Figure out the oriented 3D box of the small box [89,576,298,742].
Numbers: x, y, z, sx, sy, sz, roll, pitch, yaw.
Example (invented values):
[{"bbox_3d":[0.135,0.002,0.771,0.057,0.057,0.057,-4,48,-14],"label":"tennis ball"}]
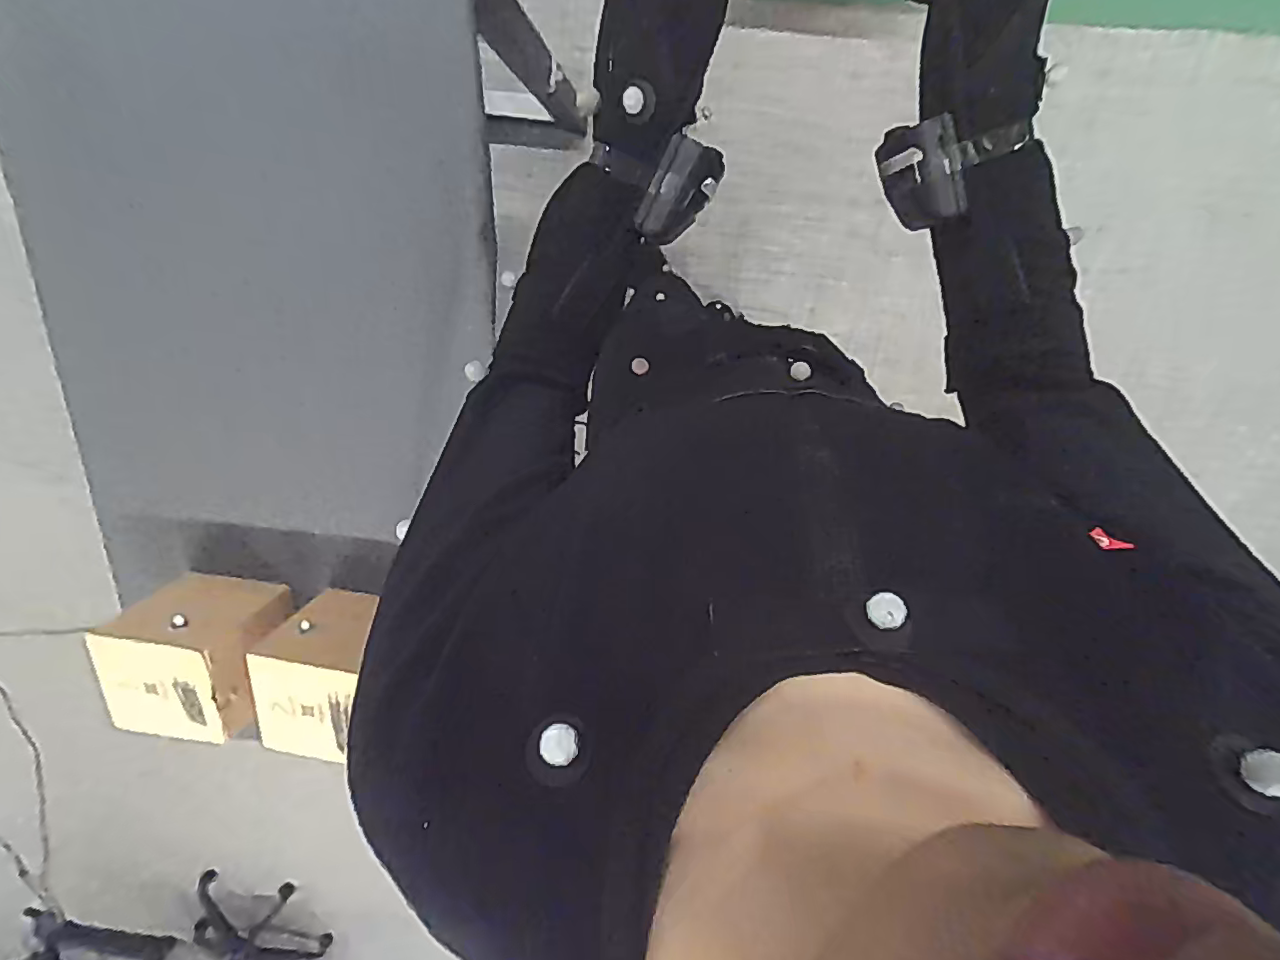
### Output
[{"bbox_3d":[-0.657,0.264,0.826,0.179,0.176,0.168,7,110,4],"label":"small box"}]
